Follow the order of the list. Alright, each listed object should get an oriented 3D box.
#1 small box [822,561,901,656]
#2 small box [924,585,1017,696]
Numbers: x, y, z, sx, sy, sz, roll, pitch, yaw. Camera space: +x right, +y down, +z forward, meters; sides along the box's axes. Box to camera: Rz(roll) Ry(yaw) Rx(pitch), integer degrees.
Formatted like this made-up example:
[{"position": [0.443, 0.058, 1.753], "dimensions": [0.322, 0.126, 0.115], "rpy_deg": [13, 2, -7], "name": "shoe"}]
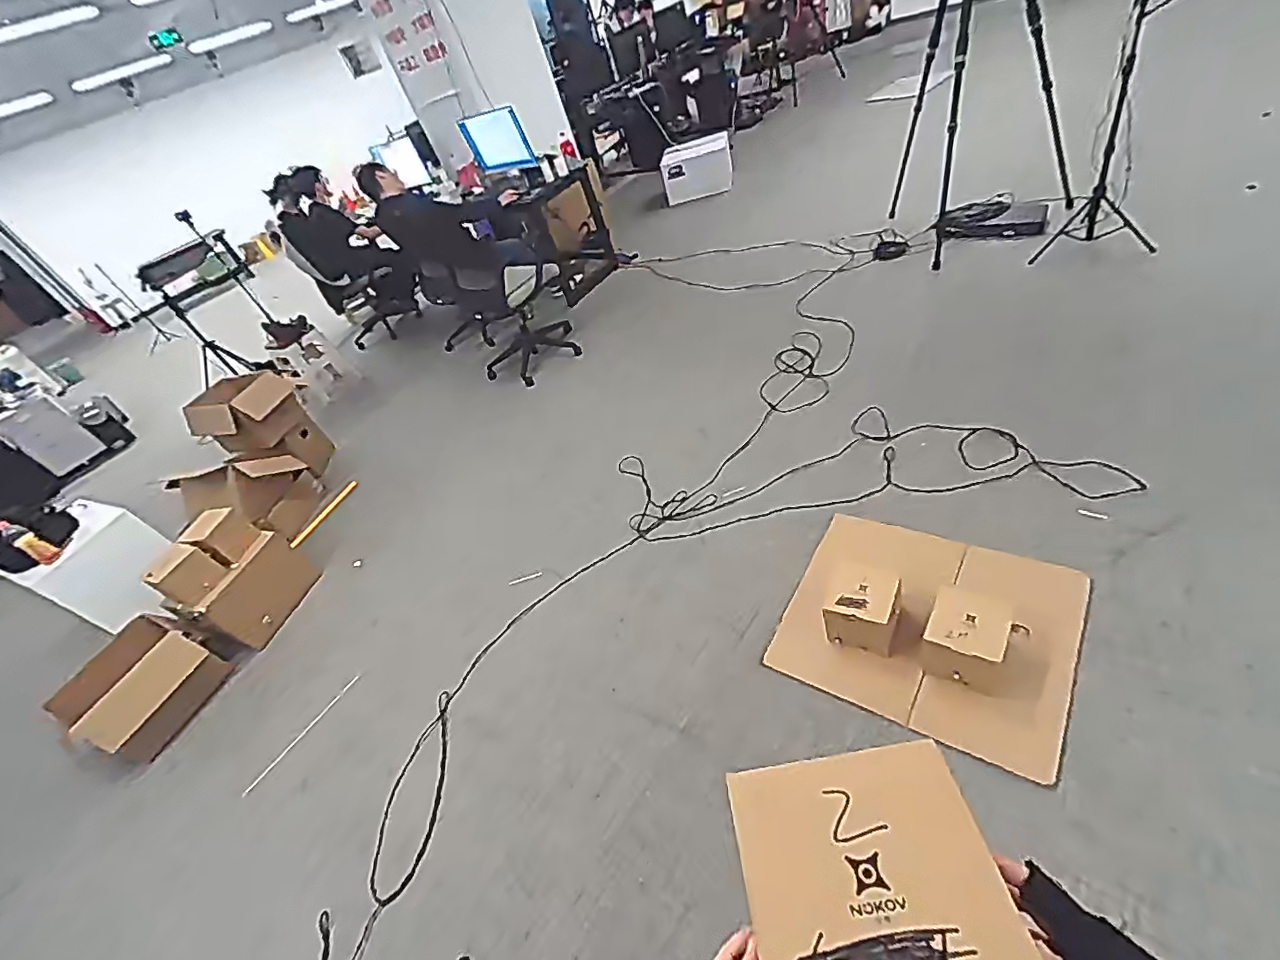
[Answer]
[{"position": [0.621, 0.356, 1.498], "dimensions": [0.168, 0.176, 0.179], "rpy_deg": [9, 50, 34], "name": "small box"}, {"position": [0.823, 0.401, 1.356], "dimensions": [0.168, 0.176, 0.179], "rpy_deg": [13, 53, 37], "name": "small box"}]
